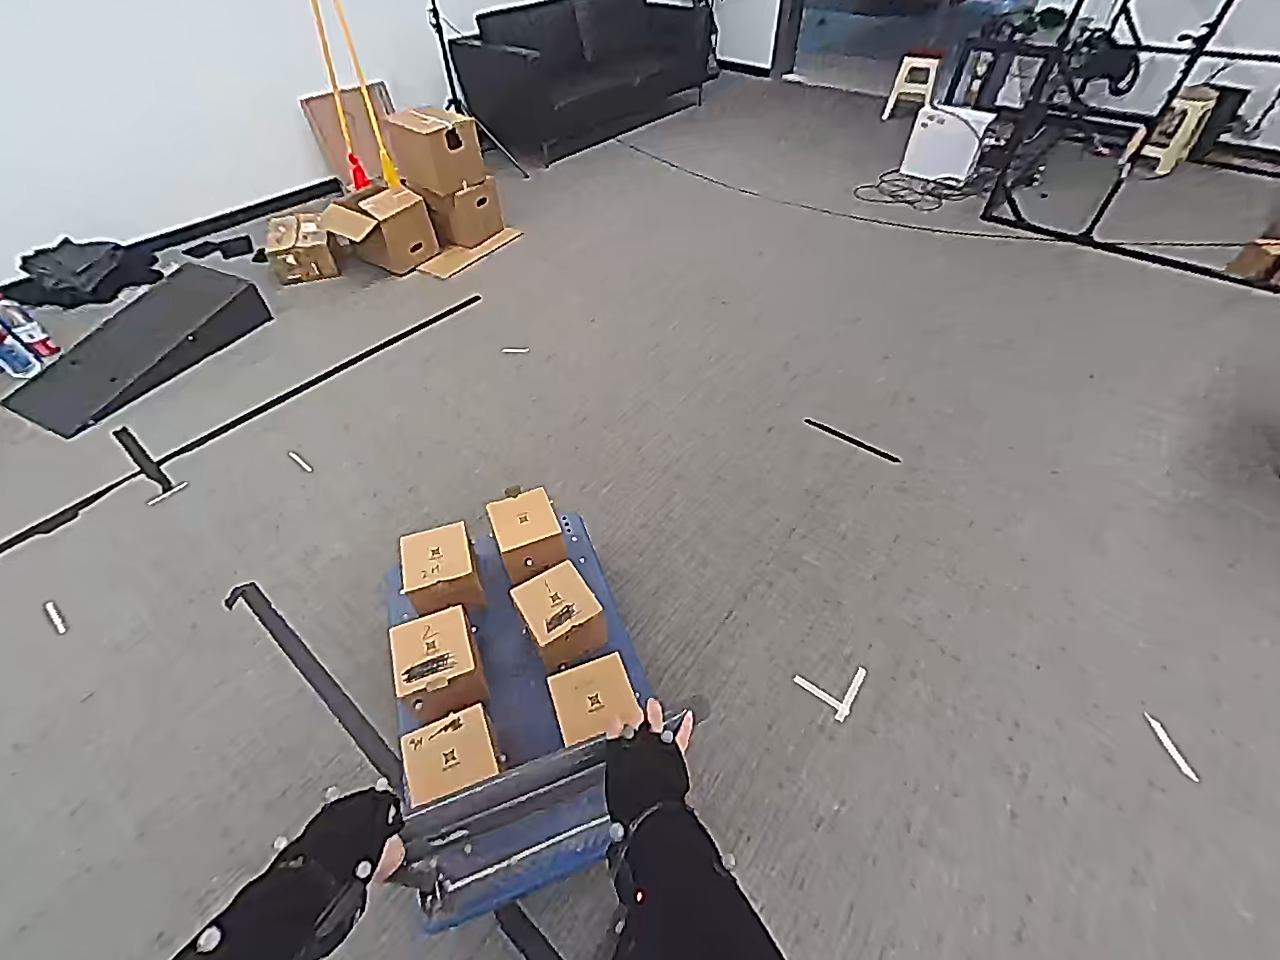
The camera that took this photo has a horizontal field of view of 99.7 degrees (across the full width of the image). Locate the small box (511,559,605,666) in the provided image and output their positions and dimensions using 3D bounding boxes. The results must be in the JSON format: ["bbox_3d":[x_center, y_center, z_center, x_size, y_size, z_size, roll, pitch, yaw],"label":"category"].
[{"bbox_3d":[-0.199,0.338,1.347,0.168,0.176,0.179,-26,52,-22],"label":"small box"}]

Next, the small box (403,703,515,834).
[{"bbox_3d":[-0.366,0.598,1.112,0.168,0.176,0.179,-19,51,-17],"label":"small box"}]

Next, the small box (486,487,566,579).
[{"bbox_3d":[-0.314,0.155,1.512,0.168,0.176,0.179,-19,51,-16],"label":"small box"}]

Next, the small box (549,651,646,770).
[{"bbox_3d":[-0.091,0.513,1.191,0.168,0.176,0.179,-16,49,-14],"label":"small box"}]

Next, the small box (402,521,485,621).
[{"bbox_3d":[-0.517,0.242,1.429,0.168,0.176,0.179,-15,51,-13],"label":"small box"}]
